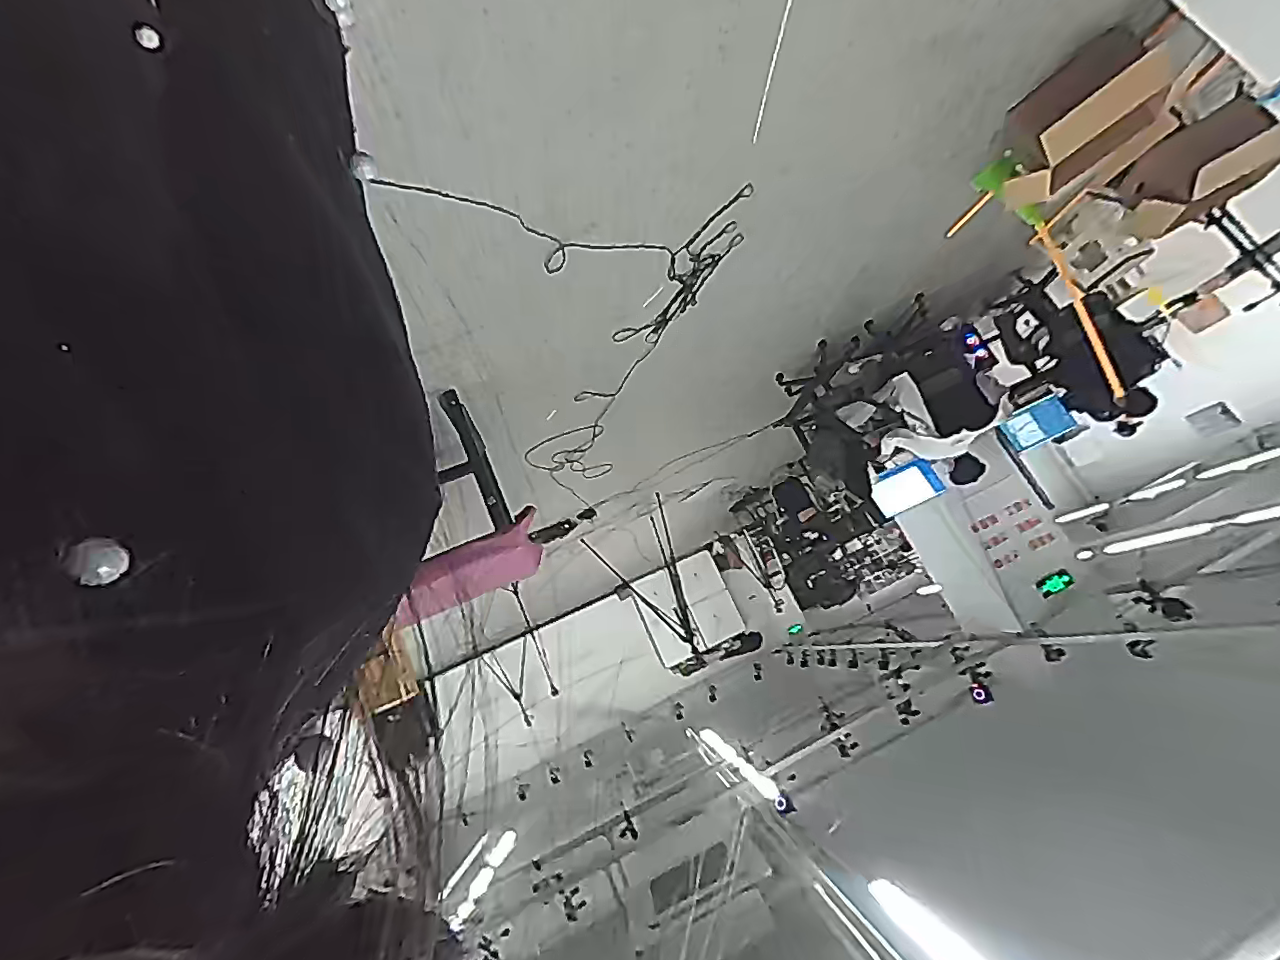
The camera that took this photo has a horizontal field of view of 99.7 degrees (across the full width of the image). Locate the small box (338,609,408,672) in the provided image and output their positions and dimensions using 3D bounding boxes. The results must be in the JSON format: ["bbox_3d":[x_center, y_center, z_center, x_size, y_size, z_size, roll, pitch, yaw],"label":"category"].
[{"bbox_3d":[-1.008,0.603,2.031,0.179,0.176,0.168,-23,166,-9],"label":"small box"}]

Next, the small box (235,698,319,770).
[{"bbox_3d":[-1.286,0.892,1.922,0.168,0.176,0.179,-25,165,-8],"label":"small box"}]

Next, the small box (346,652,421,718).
[{"bbox_3d":[-0.935,0.739,1.973,0.179,0.176,0.168,-24,165,-8],"label":"small box"}]

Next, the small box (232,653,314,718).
[{"bbox_3d":[-1.341,0.746,1.978,0.168,0.176,0.179,-25,166,-8],"label":"small box"}]
